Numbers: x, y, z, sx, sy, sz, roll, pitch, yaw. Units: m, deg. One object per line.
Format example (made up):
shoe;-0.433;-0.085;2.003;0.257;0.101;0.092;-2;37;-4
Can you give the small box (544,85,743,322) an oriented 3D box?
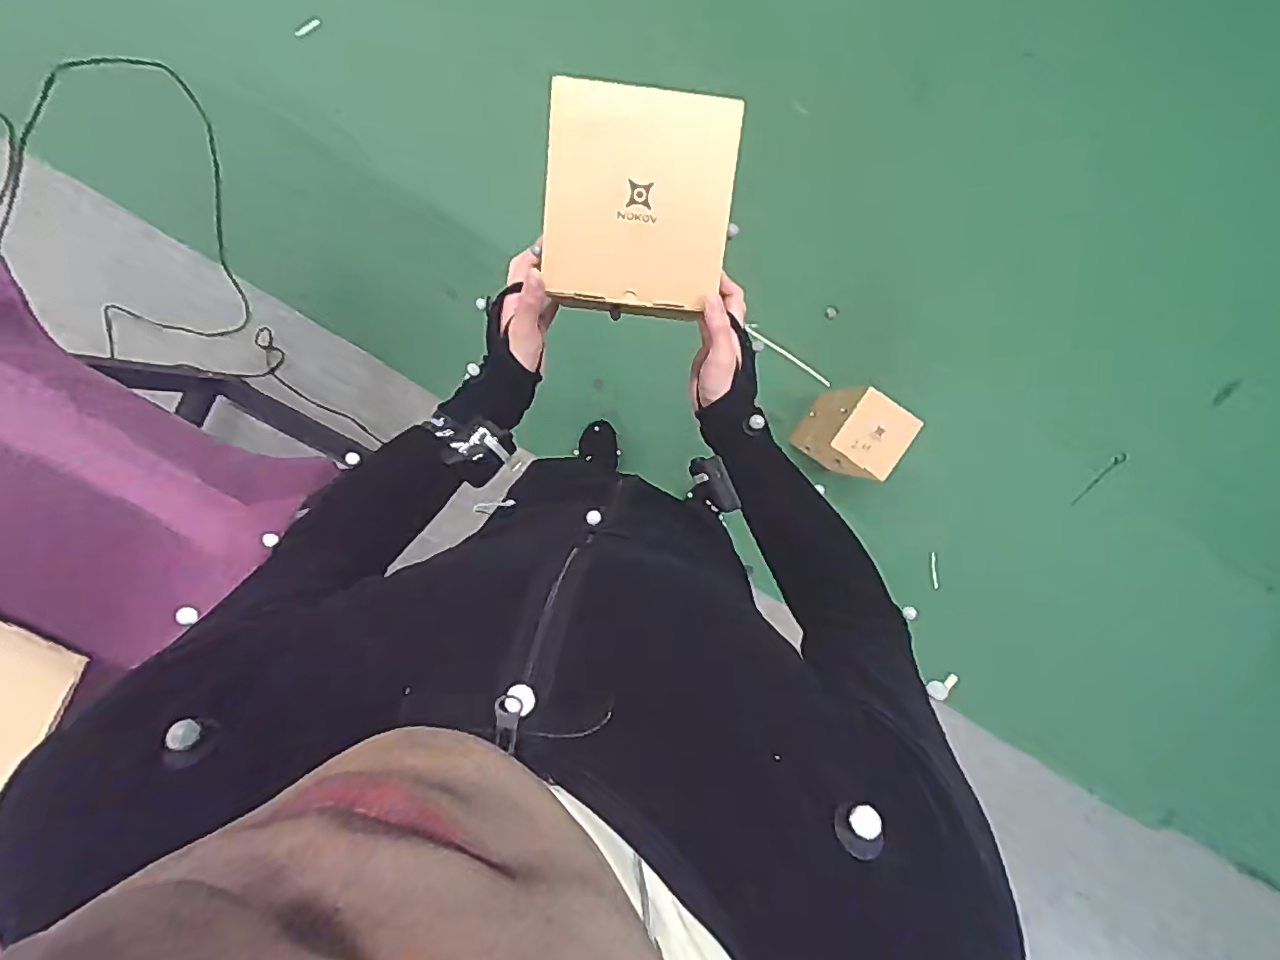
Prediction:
small box;-0.003;-0.261;0.554;0.168;0.176;0.179;4;105;-3

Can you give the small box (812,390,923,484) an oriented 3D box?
small box;0.574;-0.113;1.393;0.168;0.176;0.179;33;94;-5
